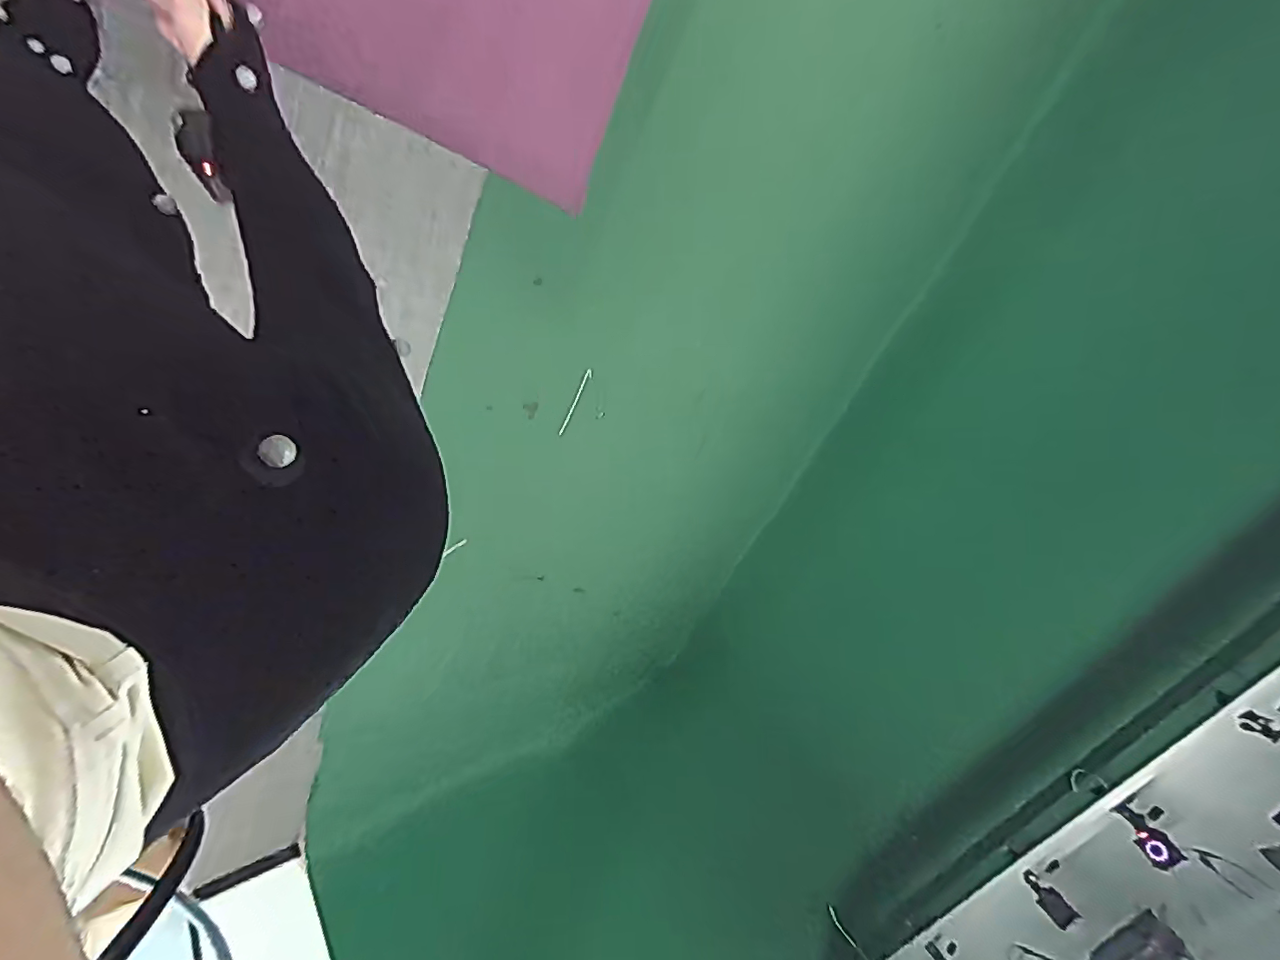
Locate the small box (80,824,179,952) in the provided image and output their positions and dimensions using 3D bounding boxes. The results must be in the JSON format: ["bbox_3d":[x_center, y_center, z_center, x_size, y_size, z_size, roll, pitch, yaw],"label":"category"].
[{"bbox_3d":[-1.301,1.029,1.376,0.168,0.176,0.179,0,126,-49],"label":"small box"}]
